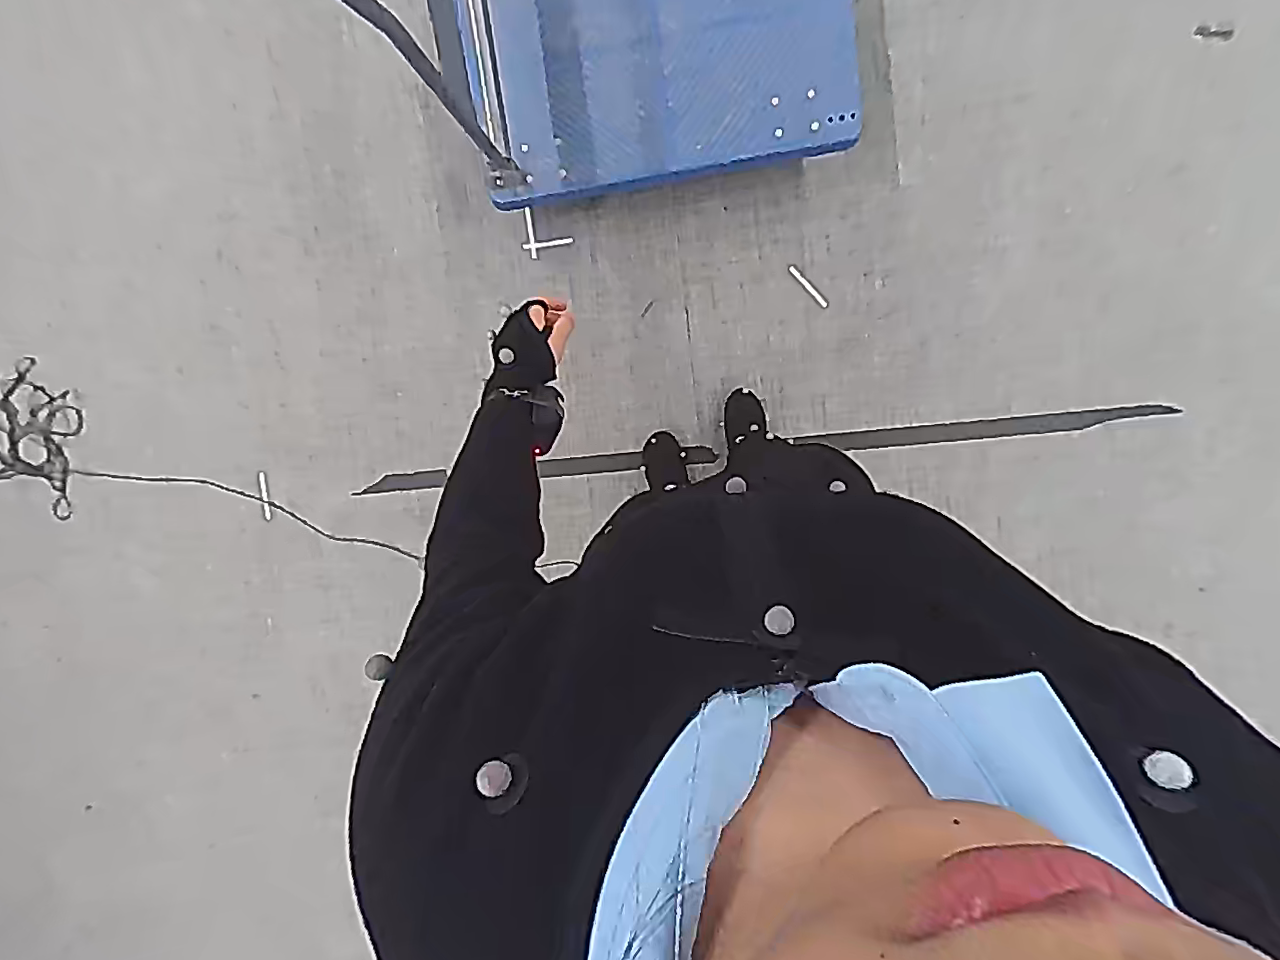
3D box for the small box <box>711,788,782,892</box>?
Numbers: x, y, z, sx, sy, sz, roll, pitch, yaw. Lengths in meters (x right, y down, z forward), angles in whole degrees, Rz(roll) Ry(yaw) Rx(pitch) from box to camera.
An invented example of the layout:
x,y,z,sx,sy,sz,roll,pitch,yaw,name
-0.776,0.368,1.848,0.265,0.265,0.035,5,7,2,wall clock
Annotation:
x,y,z,sx,sy,sz,roll,pitch,yaw,name
0.289,0.988,1.490,0.168,0.176,0.179,-8,94,4,small box
